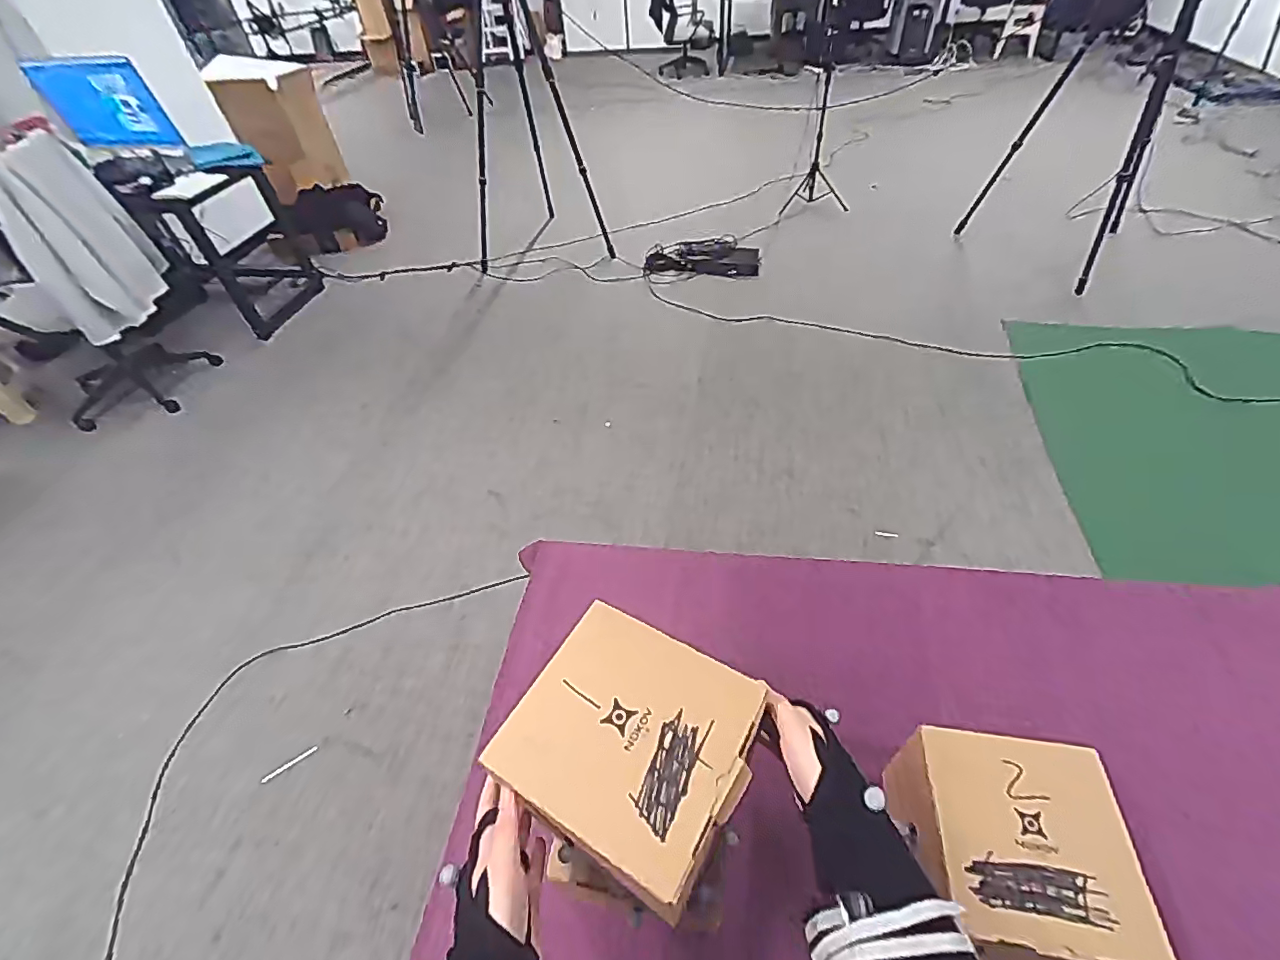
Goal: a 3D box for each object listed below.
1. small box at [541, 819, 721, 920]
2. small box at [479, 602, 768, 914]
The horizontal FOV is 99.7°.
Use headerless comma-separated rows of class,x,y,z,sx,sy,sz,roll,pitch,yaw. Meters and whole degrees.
small box,0.007,0.365,0.605,0.168,0.176,0.179,6,49,10
small box,-0.006,0.249,0.488,0.179,0.176,0.168,24,53,25
